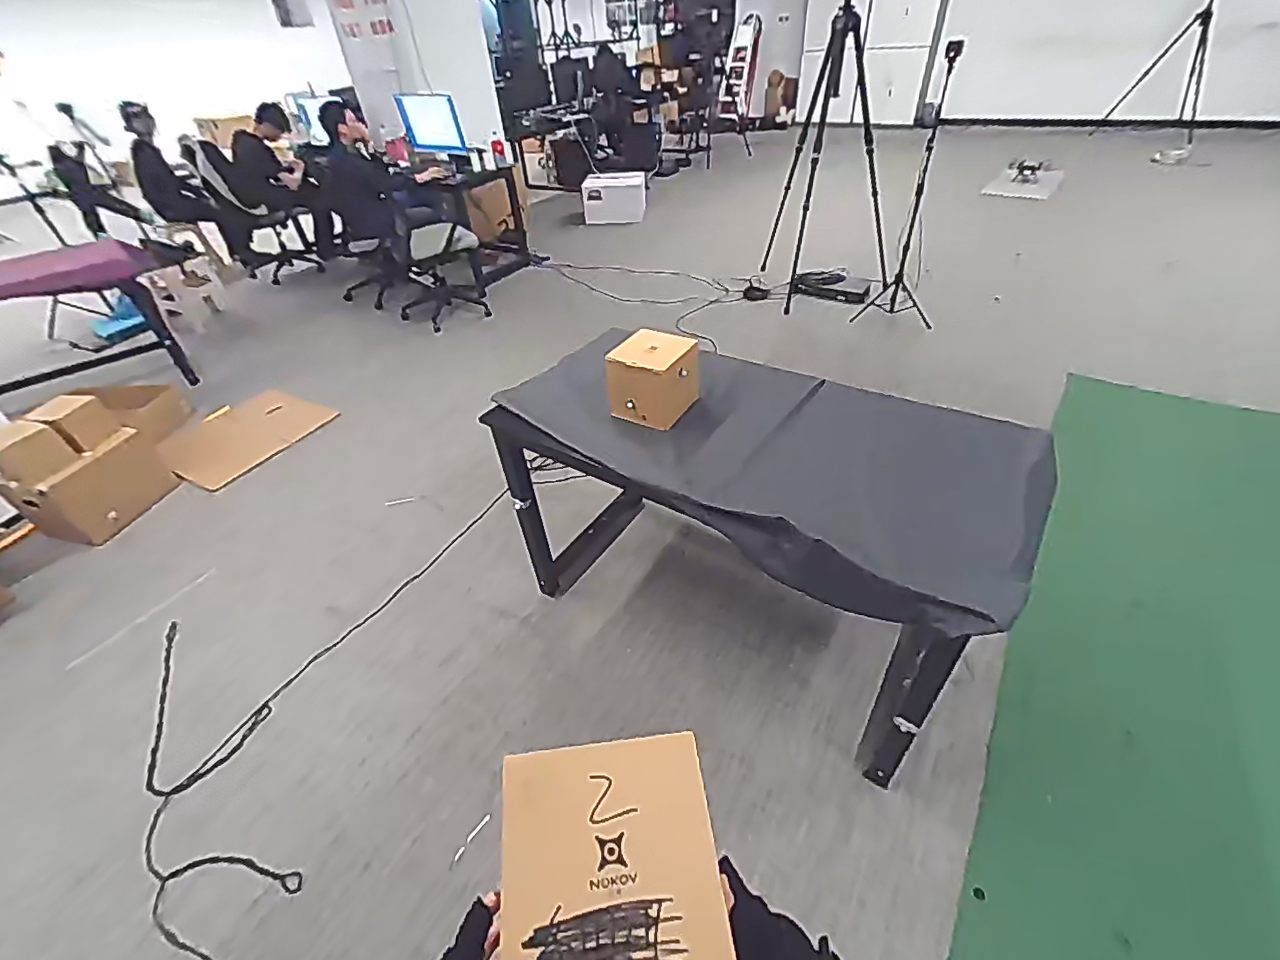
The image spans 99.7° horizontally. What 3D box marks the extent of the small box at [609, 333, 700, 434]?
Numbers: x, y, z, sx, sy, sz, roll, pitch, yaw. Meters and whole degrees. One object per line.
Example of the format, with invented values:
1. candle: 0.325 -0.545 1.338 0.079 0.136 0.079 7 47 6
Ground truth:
1. small box: 0.038 -0.245 1.368 0.168 0.176 0.179 20 47 26
